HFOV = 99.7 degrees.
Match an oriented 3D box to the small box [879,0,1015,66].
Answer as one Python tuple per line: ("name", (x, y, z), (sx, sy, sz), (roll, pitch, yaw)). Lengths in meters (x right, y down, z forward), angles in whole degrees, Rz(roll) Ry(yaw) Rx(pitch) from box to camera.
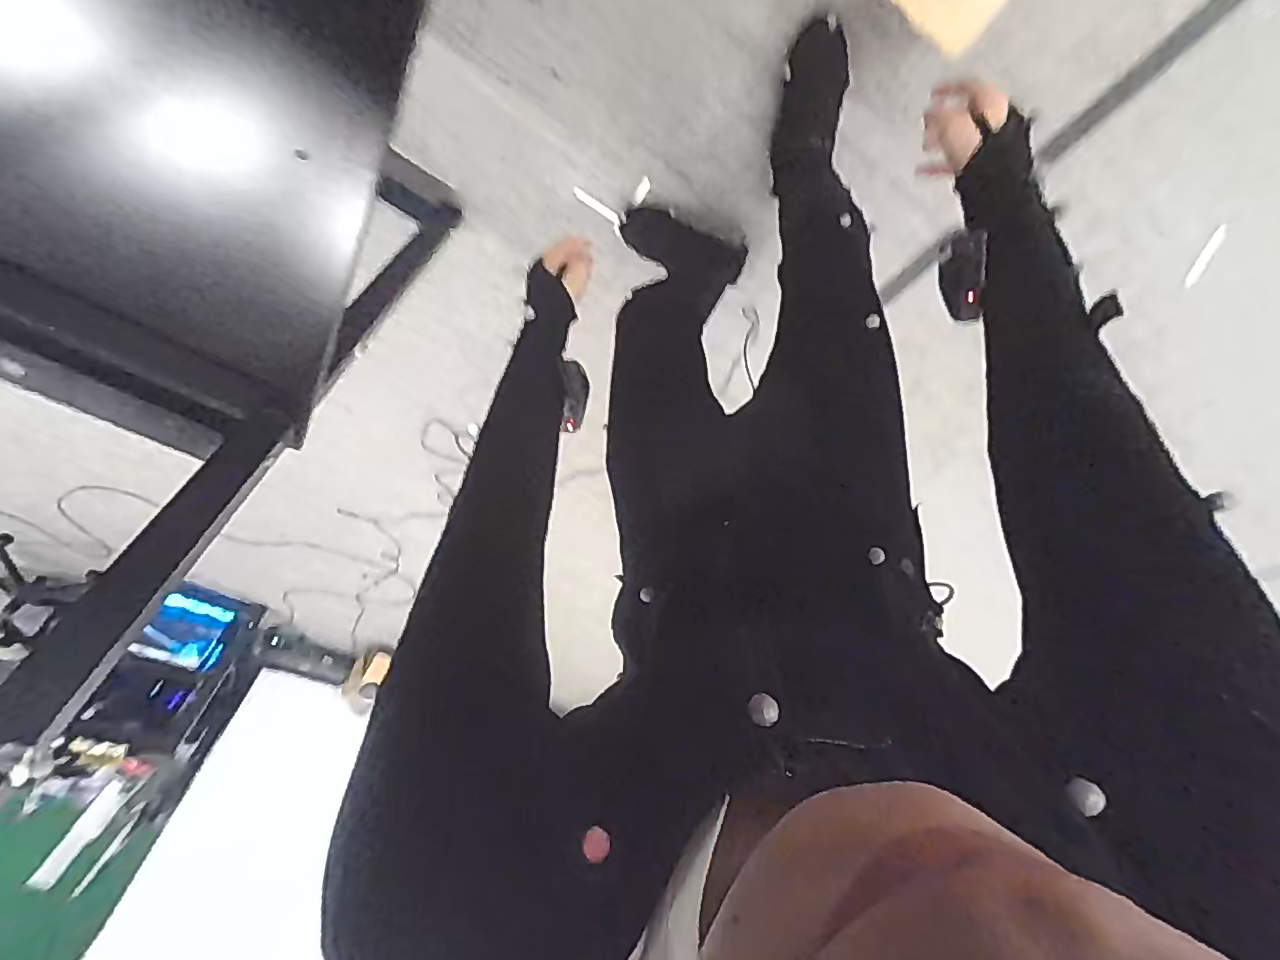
("small box", (0.477, -0.782, 0.814), (0.168, 0.176, 0.179), (27, 134, -18))
